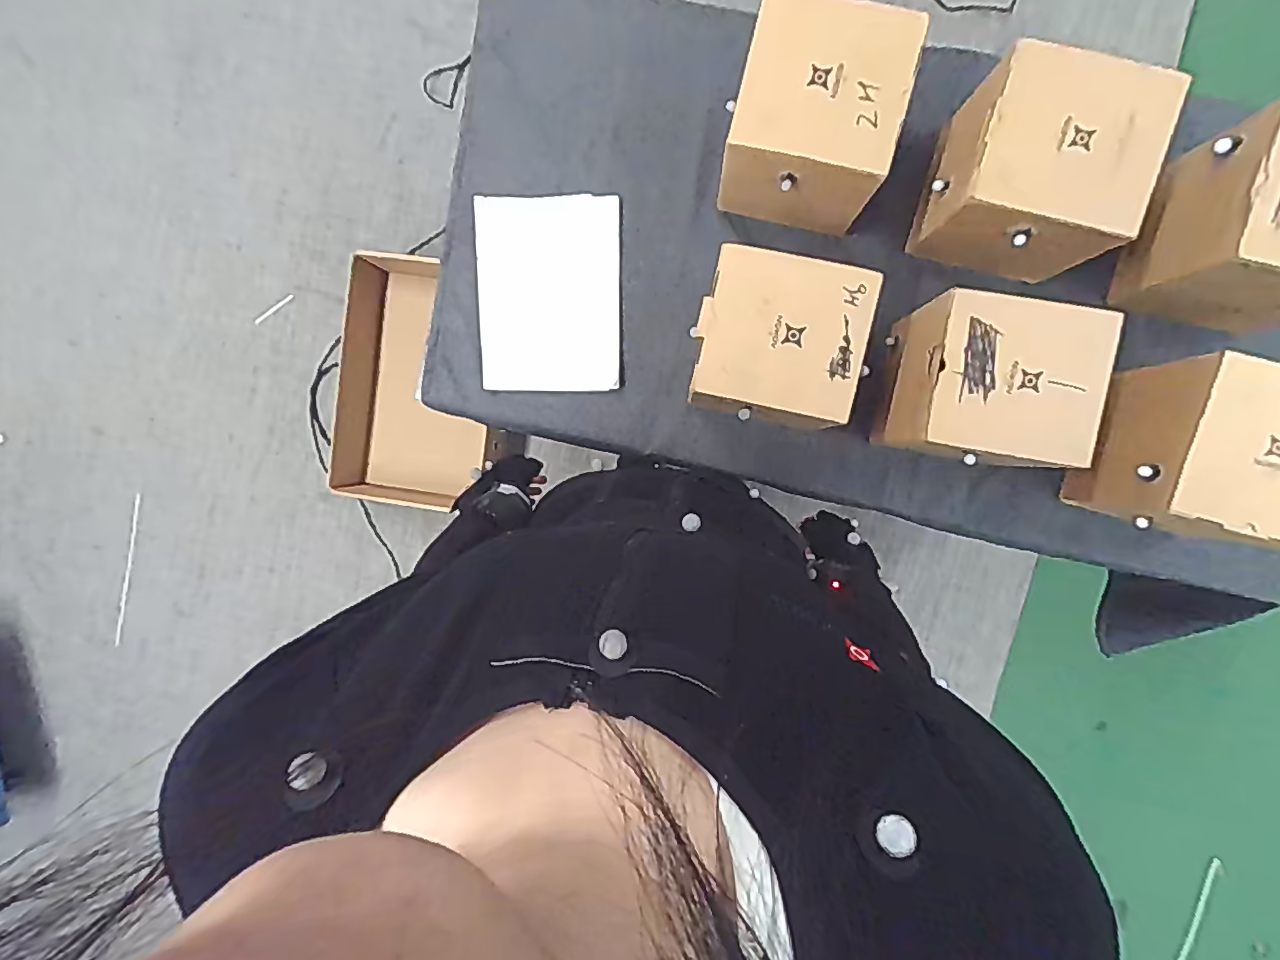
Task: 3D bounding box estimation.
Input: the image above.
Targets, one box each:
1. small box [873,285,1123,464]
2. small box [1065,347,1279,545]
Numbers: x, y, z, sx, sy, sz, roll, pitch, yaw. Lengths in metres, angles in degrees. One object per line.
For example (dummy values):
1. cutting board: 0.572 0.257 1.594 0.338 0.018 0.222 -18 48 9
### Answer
1. small box: 0.401 -0.113 0.641 0.179 0.176 0.168 10 93 2
2. small box: 0.652 -0.035 0.631 0.168 0.176 0.179 16 94 3
